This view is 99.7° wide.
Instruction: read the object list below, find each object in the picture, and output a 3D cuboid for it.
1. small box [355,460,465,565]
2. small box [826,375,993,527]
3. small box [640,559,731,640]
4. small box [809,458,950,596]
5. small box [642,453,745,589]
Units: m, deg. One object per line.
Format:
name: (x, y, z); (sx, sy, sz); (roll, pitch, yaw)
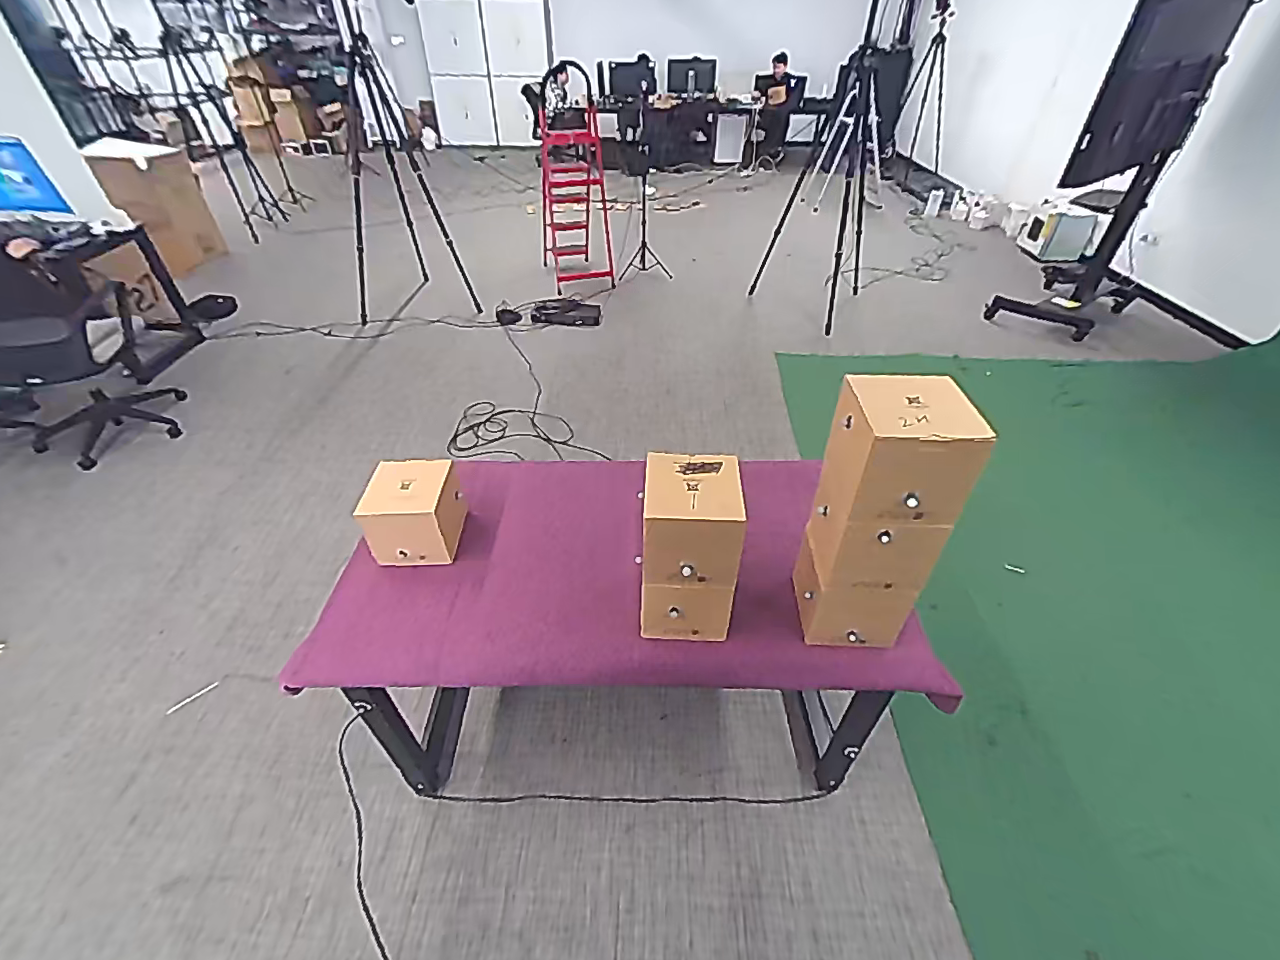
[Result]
small box: (-0.505, 0.072, 1.218); (0.168, 0.176, 0.179); (-2, 41, -1)
small box: (0.404, -0.049, 0.851); (0.168, 0.176, 0.179); (1, 41, 3)
small box: (0.088, 0.199, 1.073); (0.168, 0.176, 0.179); (1, 39, 2)
small box: (0.406, 0.080, 0.954); (0.168, 0.176, 0.179); (2, 39, 4)
small box: (0.090, 0.071, 0.970); (0.168, 0.176, 0.179); (2, 40, 3)
